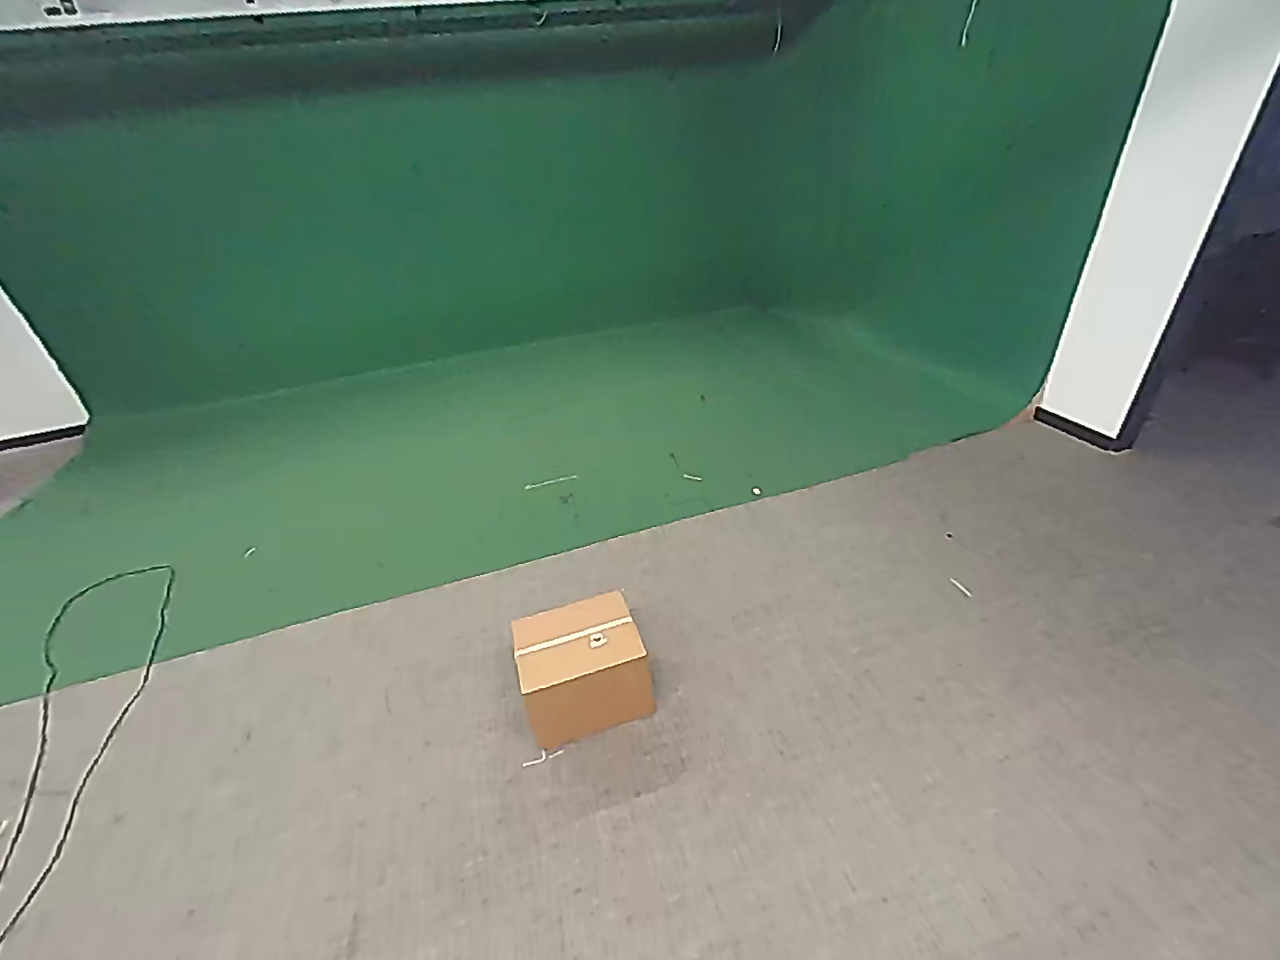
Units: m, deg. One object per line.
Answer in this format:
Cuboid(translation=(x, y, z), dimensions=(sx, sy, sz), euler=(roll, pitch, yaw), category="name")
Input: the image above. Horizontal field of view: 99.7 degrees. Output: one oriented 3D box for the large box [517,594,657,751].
Cuboid(translation=(-0.184, 0.659, 1.874), dimensions=(0.408, 0.320, 0.320), euler=(-14, 33, -12), category="large box")
